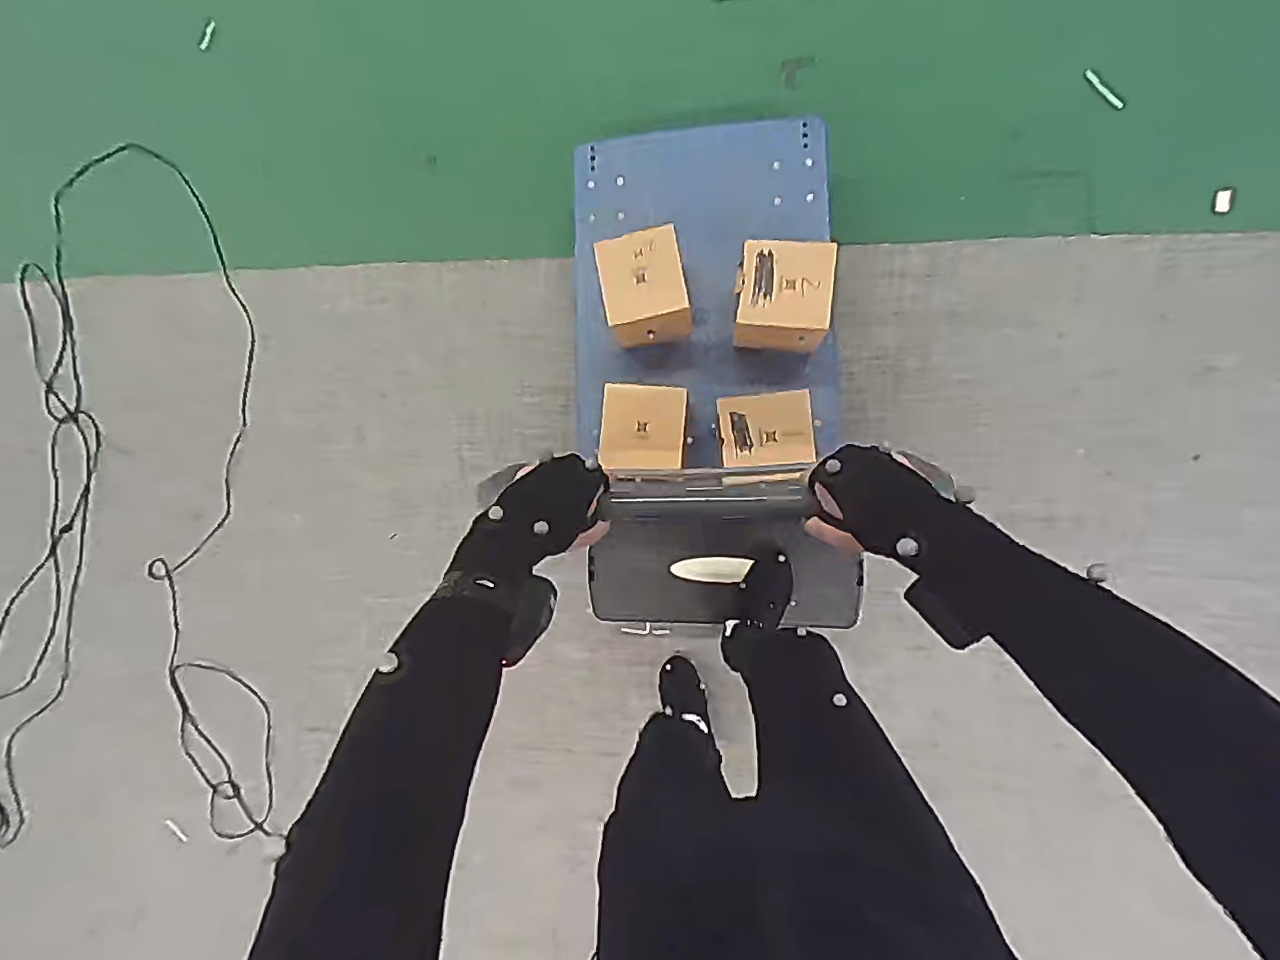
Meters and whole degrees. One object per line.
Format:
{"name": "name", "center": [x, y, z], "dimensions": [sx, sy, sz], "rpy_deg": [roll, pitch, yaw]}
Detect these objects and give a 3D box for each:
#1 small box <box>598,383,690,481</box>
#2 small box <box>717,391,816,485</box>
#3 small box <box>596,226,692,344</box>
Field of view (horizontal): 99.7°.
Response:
{"name": "small box", "center": [0.016, -0.095, 1.134], "dimensions": [0.168, 0.176, 0.179], "rpy_deg": [5, 89, 7]}
{"name": "small box", "center": [0.249, -0.078, 1.100], "dimensions": [0.179, 0.176, 0.168], "rpy_deg": [-4, 88, 7]}
{"name": "small box", "center": [0.016, -0.399, 1.145], "dimensions": [0.168, 0.176, 0.179], "rpy_deg": [-10, 86, 6]}
